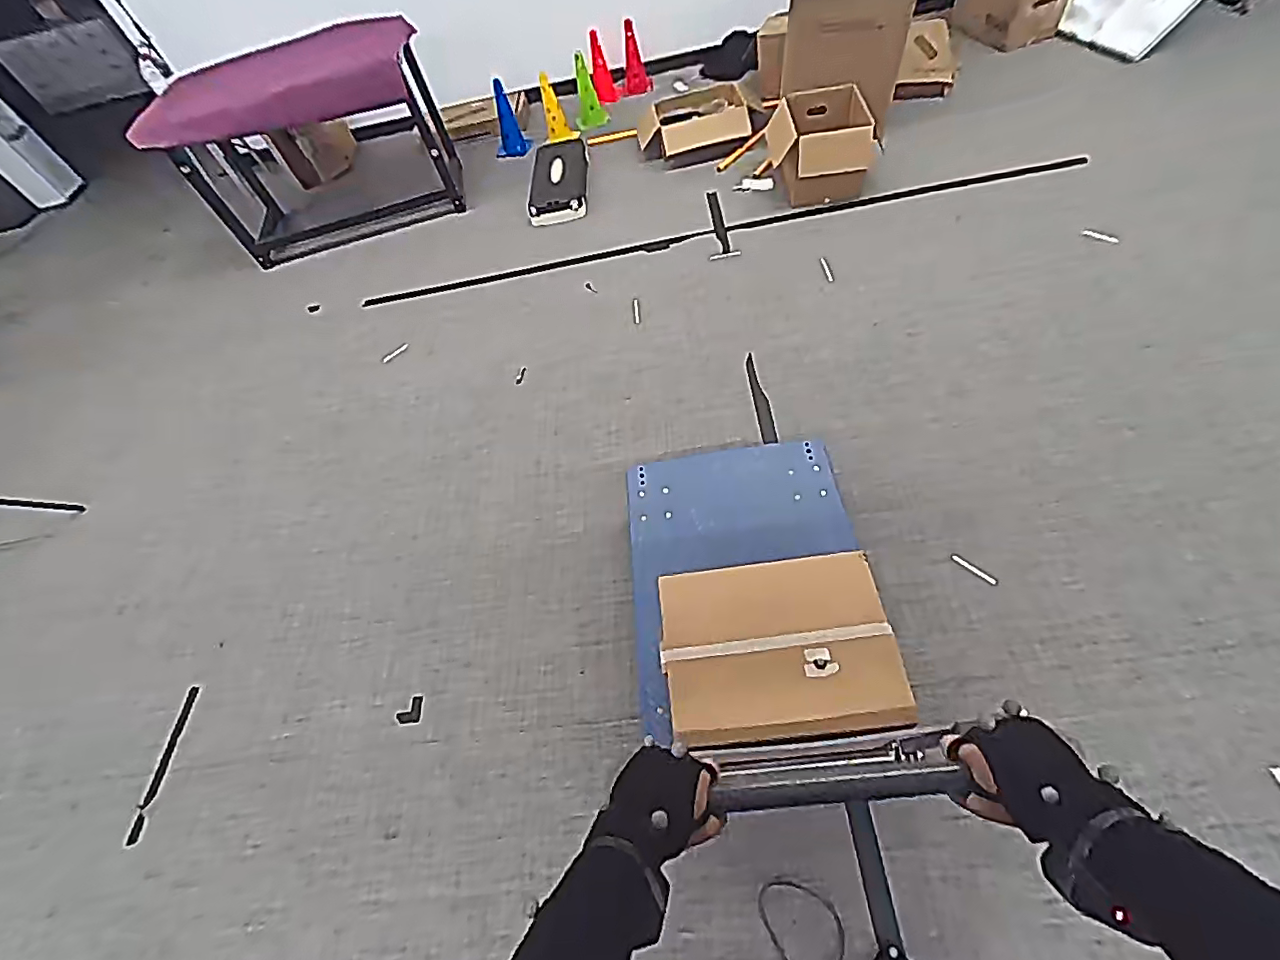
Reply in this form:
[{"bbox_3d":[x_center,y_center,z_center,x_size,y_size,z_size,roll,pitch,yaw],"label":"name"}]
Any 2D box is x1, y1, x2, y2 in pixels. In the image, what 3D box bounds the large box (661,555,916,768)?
[{"bbox_3d":[0.270,0.384,1.111,0.408,0.320,0.320,-9,57,4],"label":"large box"}]
